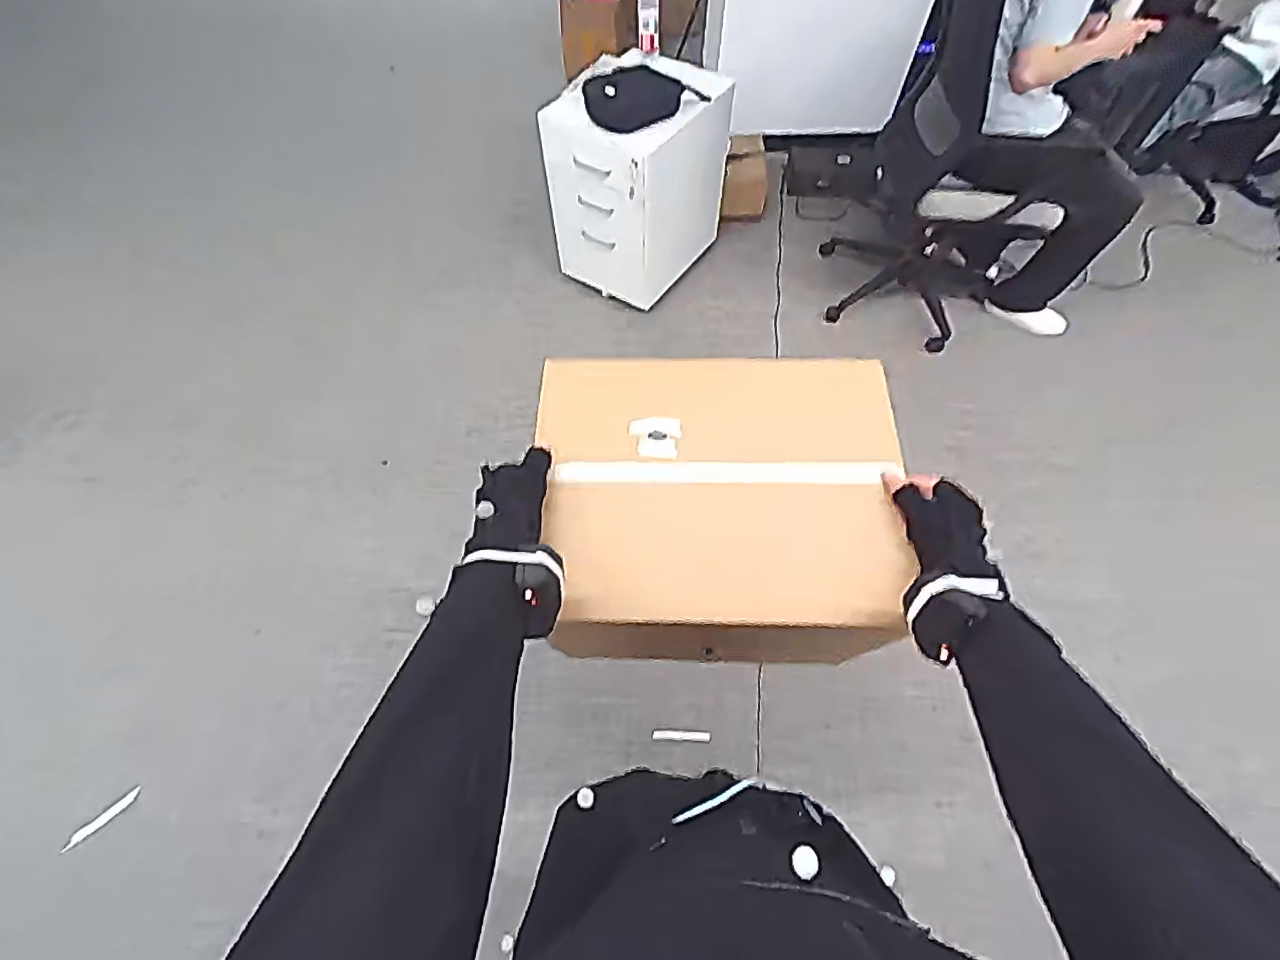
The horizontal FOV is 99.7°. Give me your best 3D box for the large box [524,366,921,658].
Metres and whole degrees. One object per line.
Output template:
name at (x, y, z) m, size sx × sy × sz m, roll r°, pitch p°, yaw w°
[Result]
large box at (0.091, 0.064, 0.736) m, size 0.408 × 0.320 × 0.320 m, roll 0°, pitch 64°, yaw 3°
